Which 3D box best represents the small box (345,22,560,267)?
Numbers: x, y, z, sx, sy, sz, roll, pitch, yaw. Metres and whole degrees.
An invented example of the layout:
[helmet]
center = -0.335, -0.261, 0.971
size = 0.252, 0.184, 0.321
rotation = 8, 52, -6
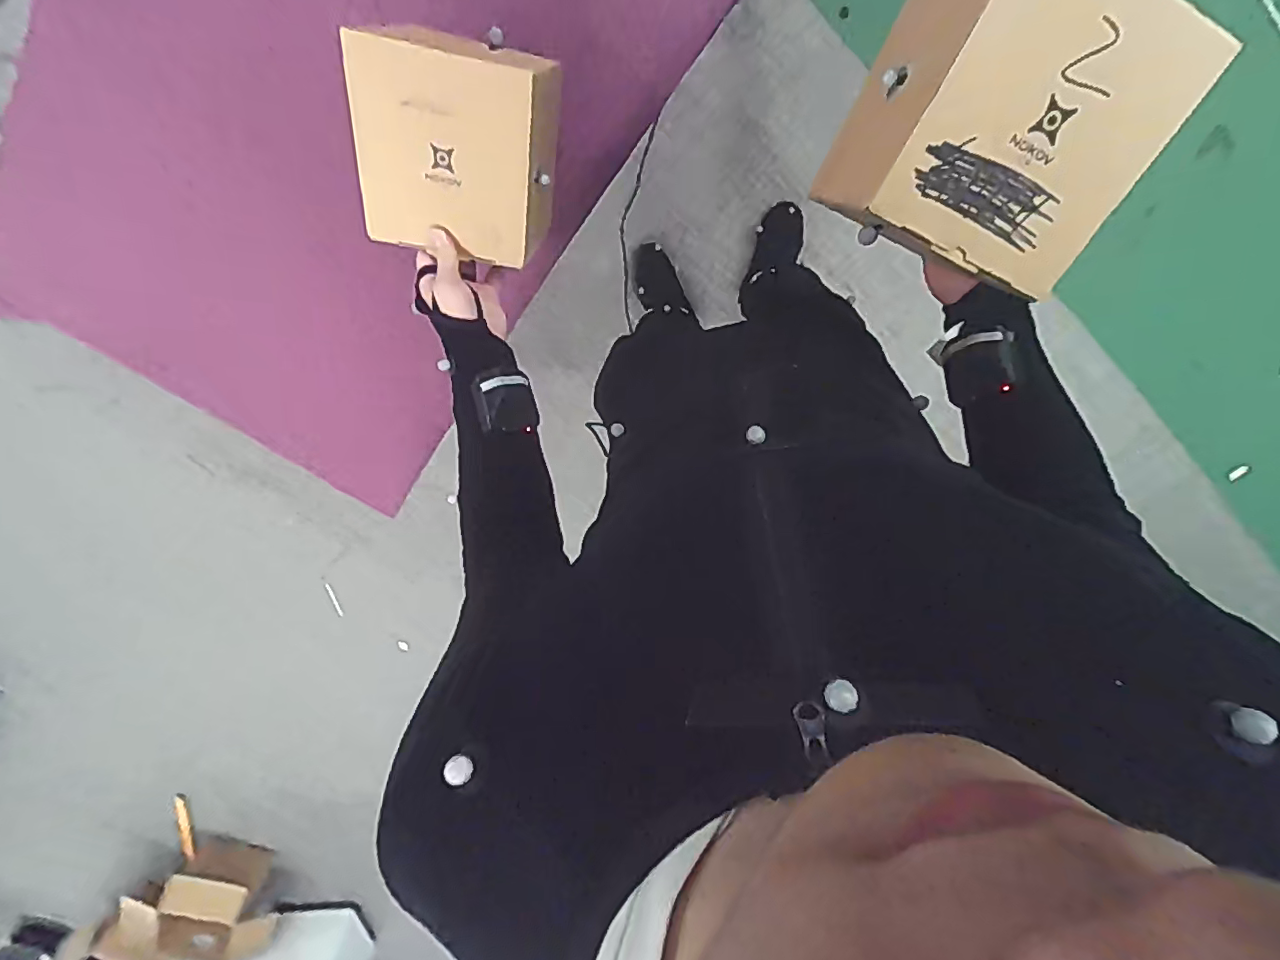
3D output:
[small box]
center = -0.184, -0.359, 0.579
size = 0.168, 0.176, 0.179
rotation = 10, 130, -6
